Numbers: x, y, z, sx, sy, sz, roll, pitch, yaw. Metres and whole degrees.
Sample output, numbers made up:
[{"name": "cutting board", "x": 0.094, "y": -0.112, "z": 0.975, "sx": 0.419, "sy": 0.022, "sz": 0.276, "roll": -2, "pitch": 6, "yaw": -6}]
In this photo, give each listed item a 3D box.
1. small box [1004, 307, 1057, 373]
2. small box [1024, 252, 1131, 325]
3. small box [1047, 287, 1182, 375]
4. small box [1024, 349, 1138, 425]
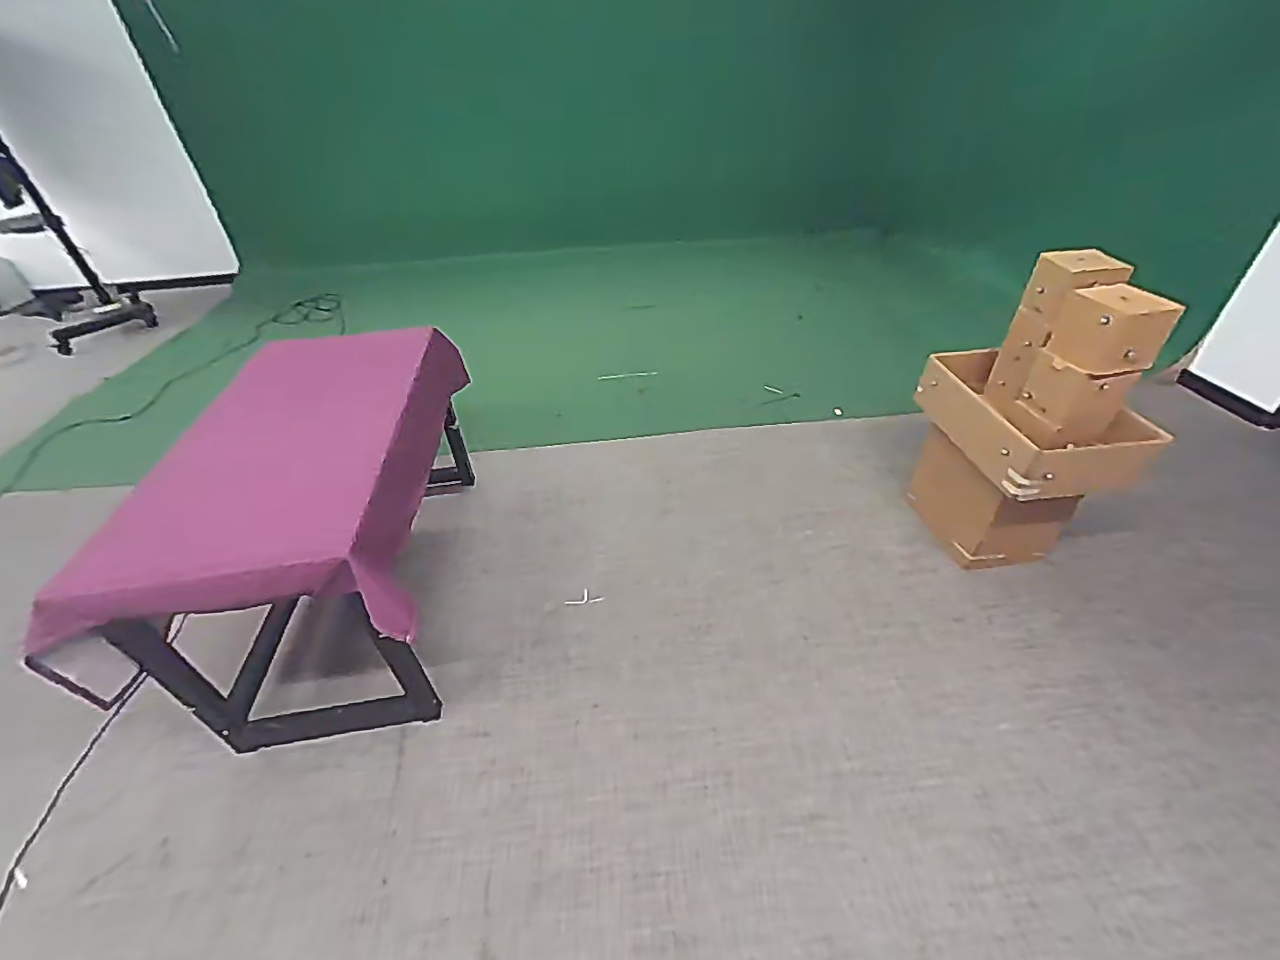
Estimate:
[{"name": "small box", "x": 1.329, "y": -0.456, "z": 1.762, "sx": 0.179, "sy": 0.176, "sz": 0.168, "roll": -3, "pitch": 40, "yaw": -1}, {"name": "small box", "x": 1.326, "y": -0.587, "z": 1.662, "sx": 0.179, "sy": 0.176, "sz": 0.168, "roll": -3, "pitch": 41, "yaw": 1}, {"name": "small box", "x": 1.238, "y": -0.394, "z": 1.431, "sx": 0.168, "sy": 0.176, "sz": 0.179, "roll": -9, "pitch": 40, "yaw": -7}, {"name": "small box", "x": 1.236, "y": -0.268, "z": 1.532, "sx": 0.179, "sy": 0.176, "sz": 0.168, "roll": -7, "pitch": 39, "yaw": -4}]
